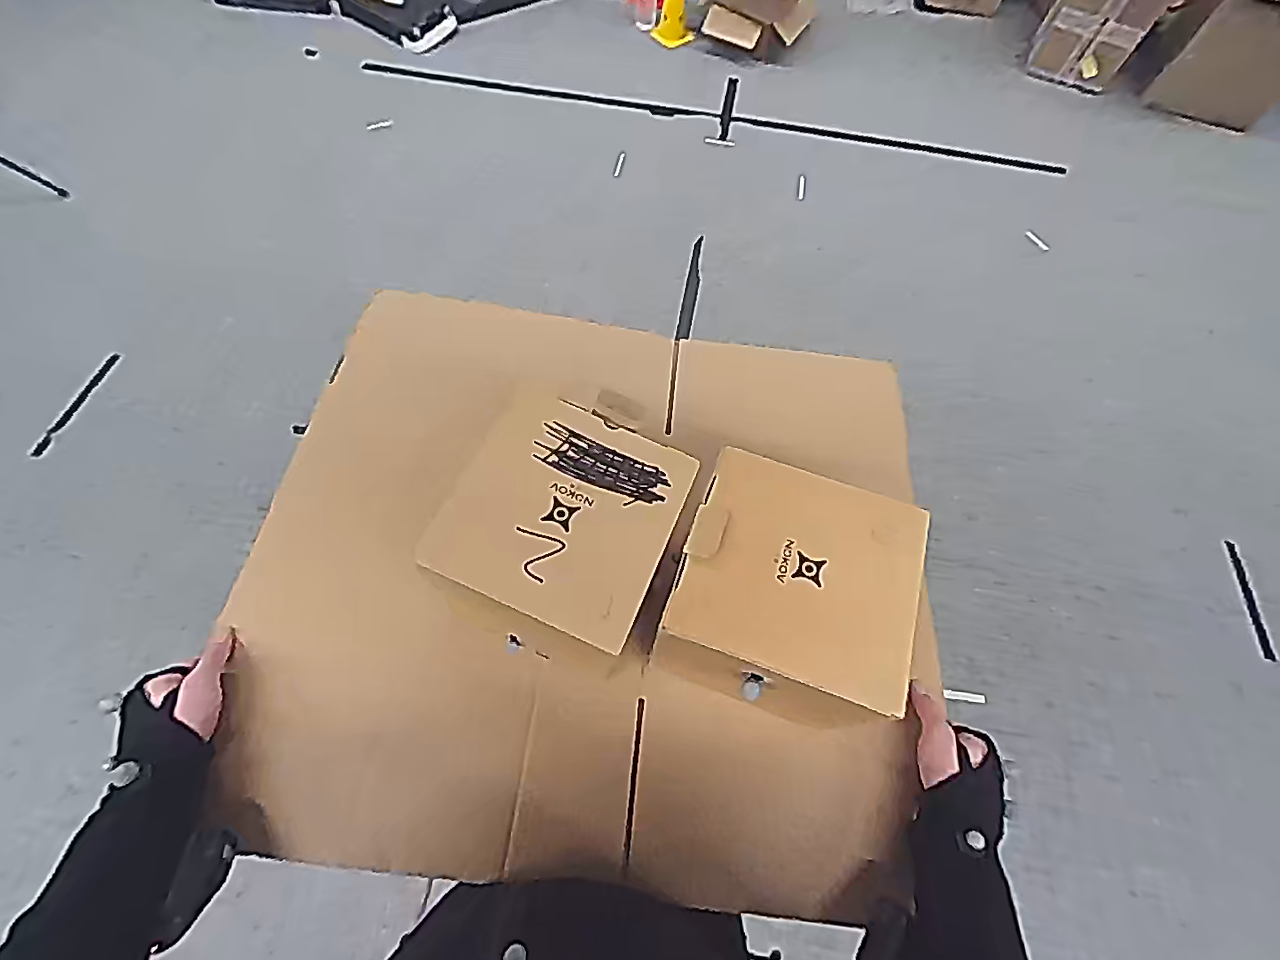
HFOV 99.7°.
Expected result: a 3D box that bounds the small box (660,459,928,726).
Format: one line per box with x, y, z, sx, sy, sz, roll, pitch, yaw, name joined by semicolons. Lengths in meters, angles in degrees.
0.127;0.111;0.493;0.179;0.176;0.168;18;63;9;small box
